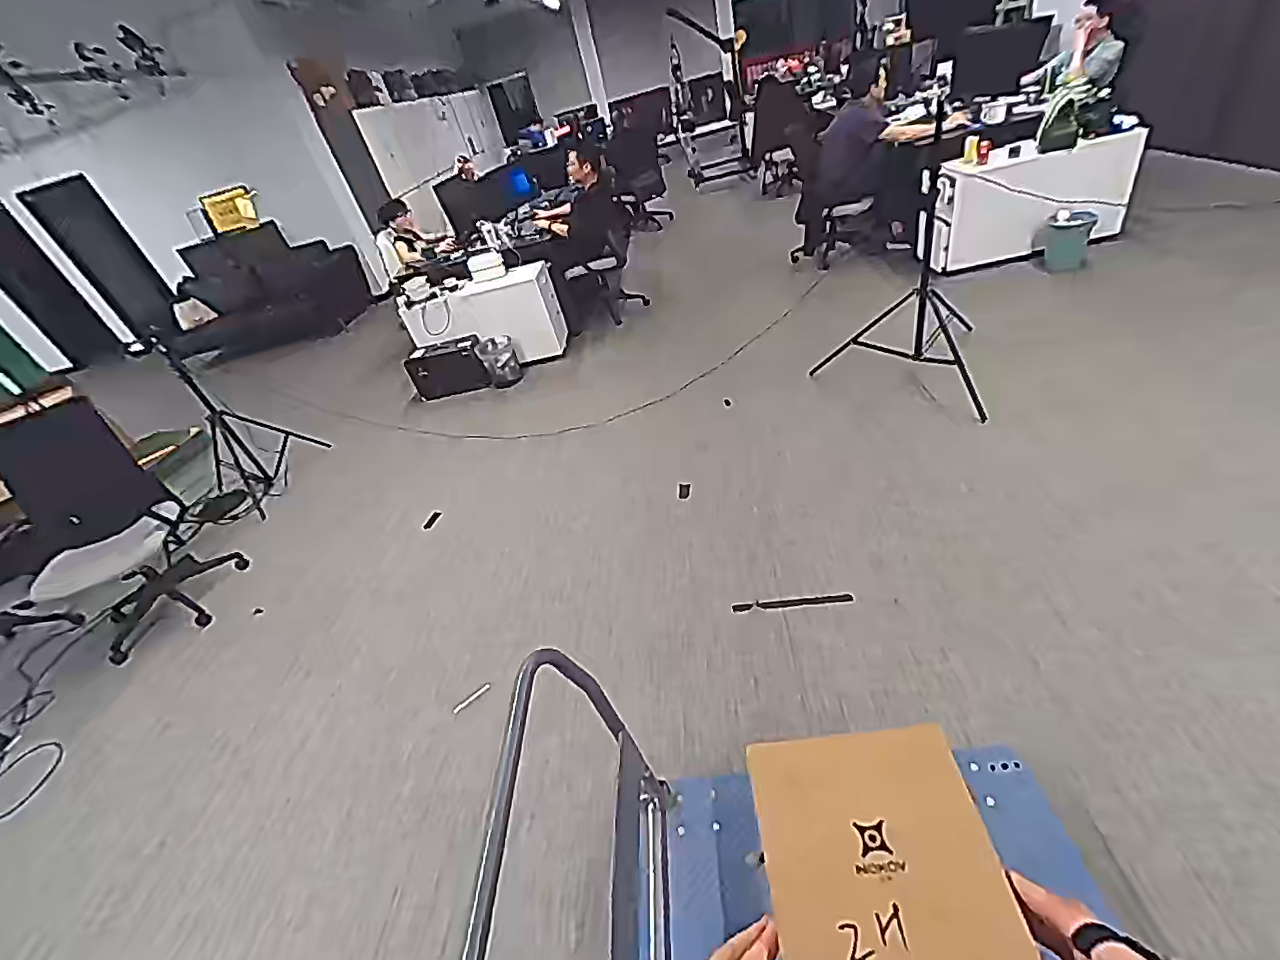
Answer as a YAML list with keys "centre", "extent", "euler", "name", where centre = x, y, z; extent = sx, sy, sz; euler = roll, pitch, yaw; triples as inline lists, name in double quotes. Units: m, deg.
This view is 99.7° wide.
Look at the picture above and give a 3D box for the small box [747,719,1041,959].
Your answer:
- centre: [0.189, 0.330, 0.454]
  extent: [0.168, 0.176, 0.179]
  euler: [-10, 42, 7]
  name: "small box"
